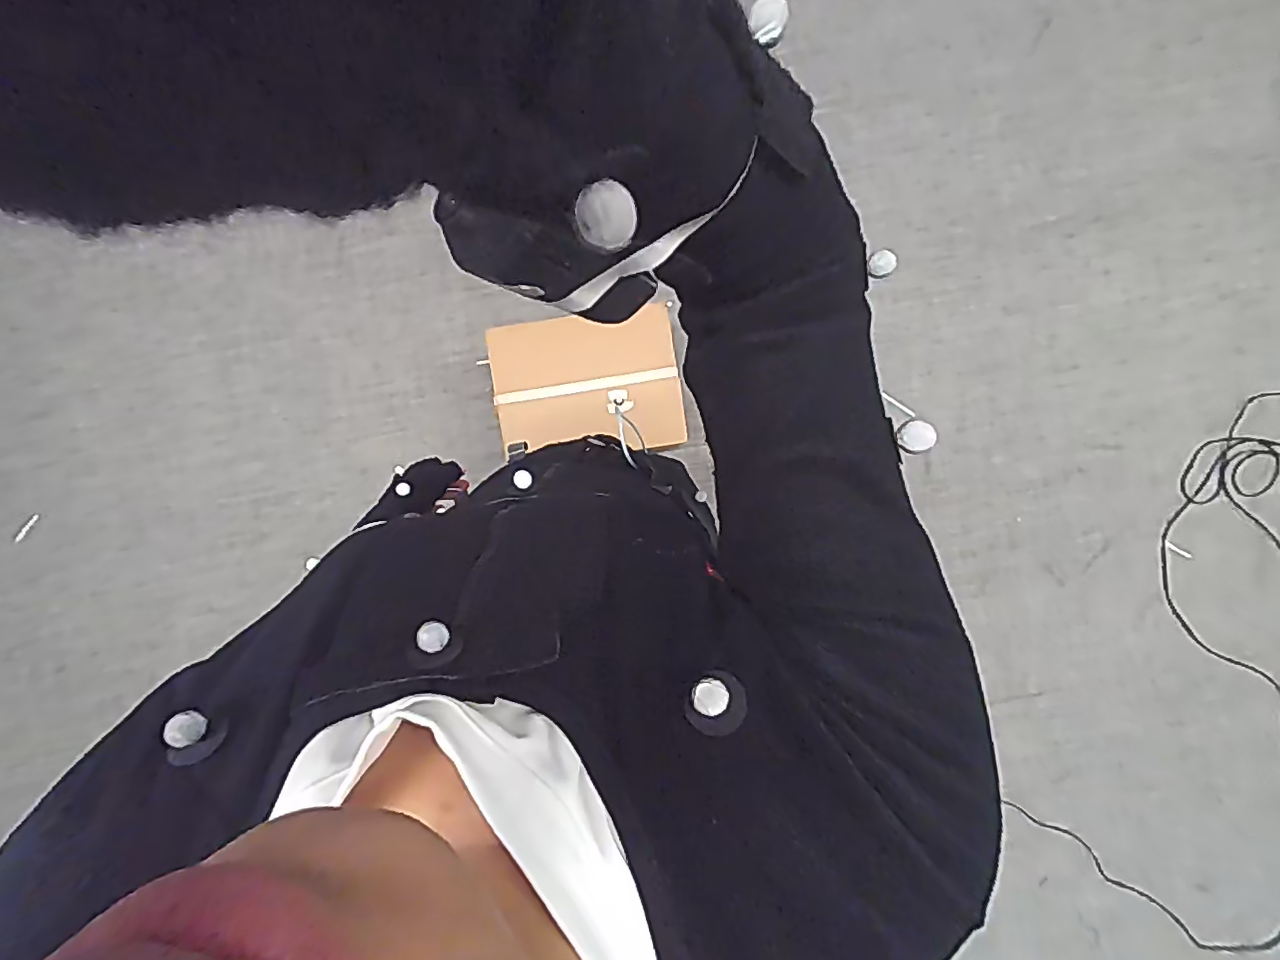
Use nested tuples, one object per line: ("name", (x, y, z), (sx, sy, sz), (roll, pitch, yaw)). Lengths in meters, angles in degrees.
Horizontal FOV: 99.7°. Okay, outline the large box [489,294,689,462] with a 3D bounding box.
("large box", (-0.111, -0.227, 1.327), (0.408, 0.320, 0.320), (-9, 93, 1))
